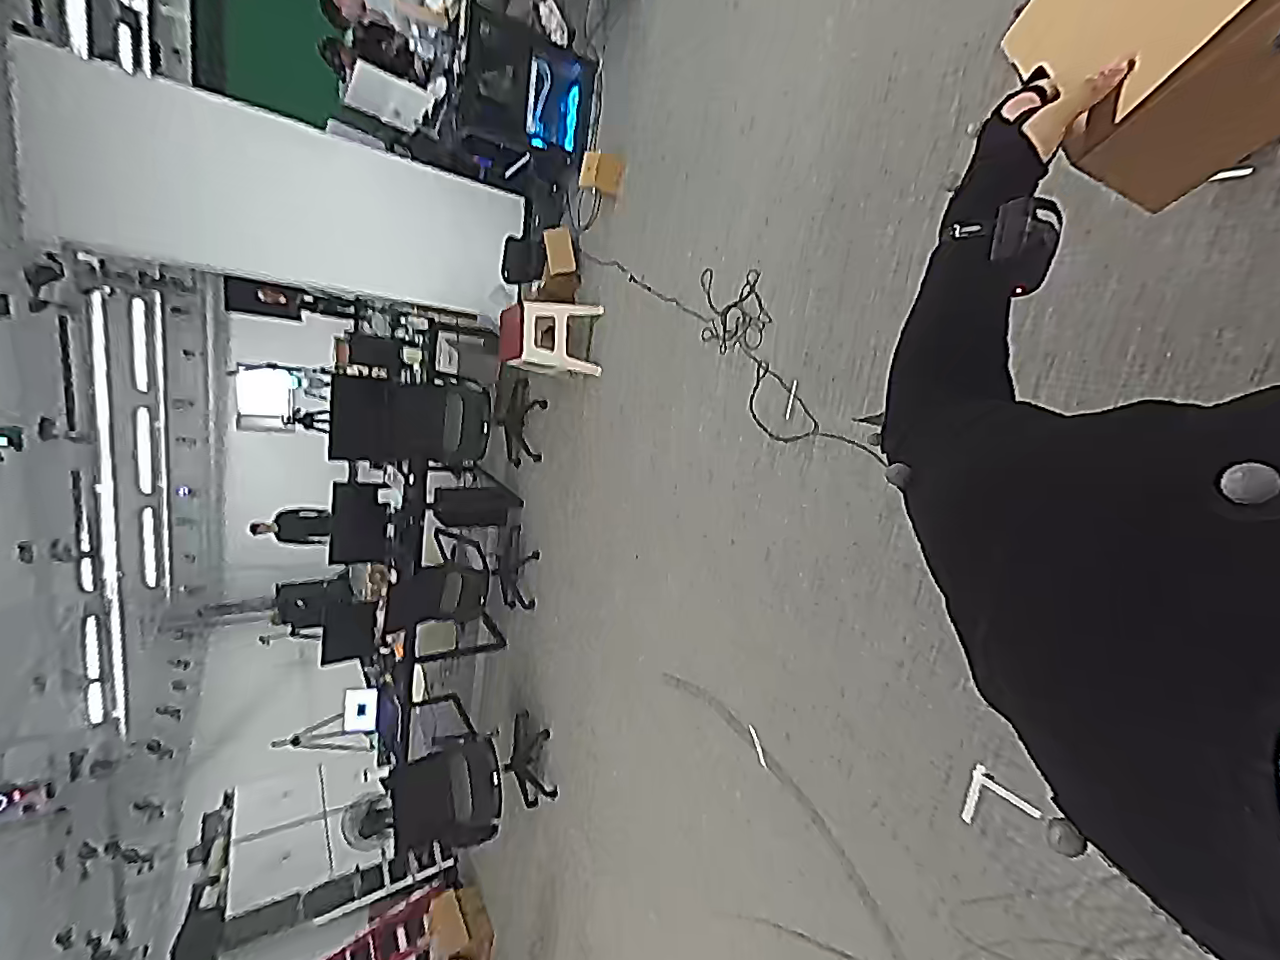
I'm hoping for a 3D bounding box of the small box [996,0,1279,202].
[{"bbox_3d":[0.462,-0.379,0.459,0.179,0.176,0.168,-43,51,55],"label":"small box"}]
